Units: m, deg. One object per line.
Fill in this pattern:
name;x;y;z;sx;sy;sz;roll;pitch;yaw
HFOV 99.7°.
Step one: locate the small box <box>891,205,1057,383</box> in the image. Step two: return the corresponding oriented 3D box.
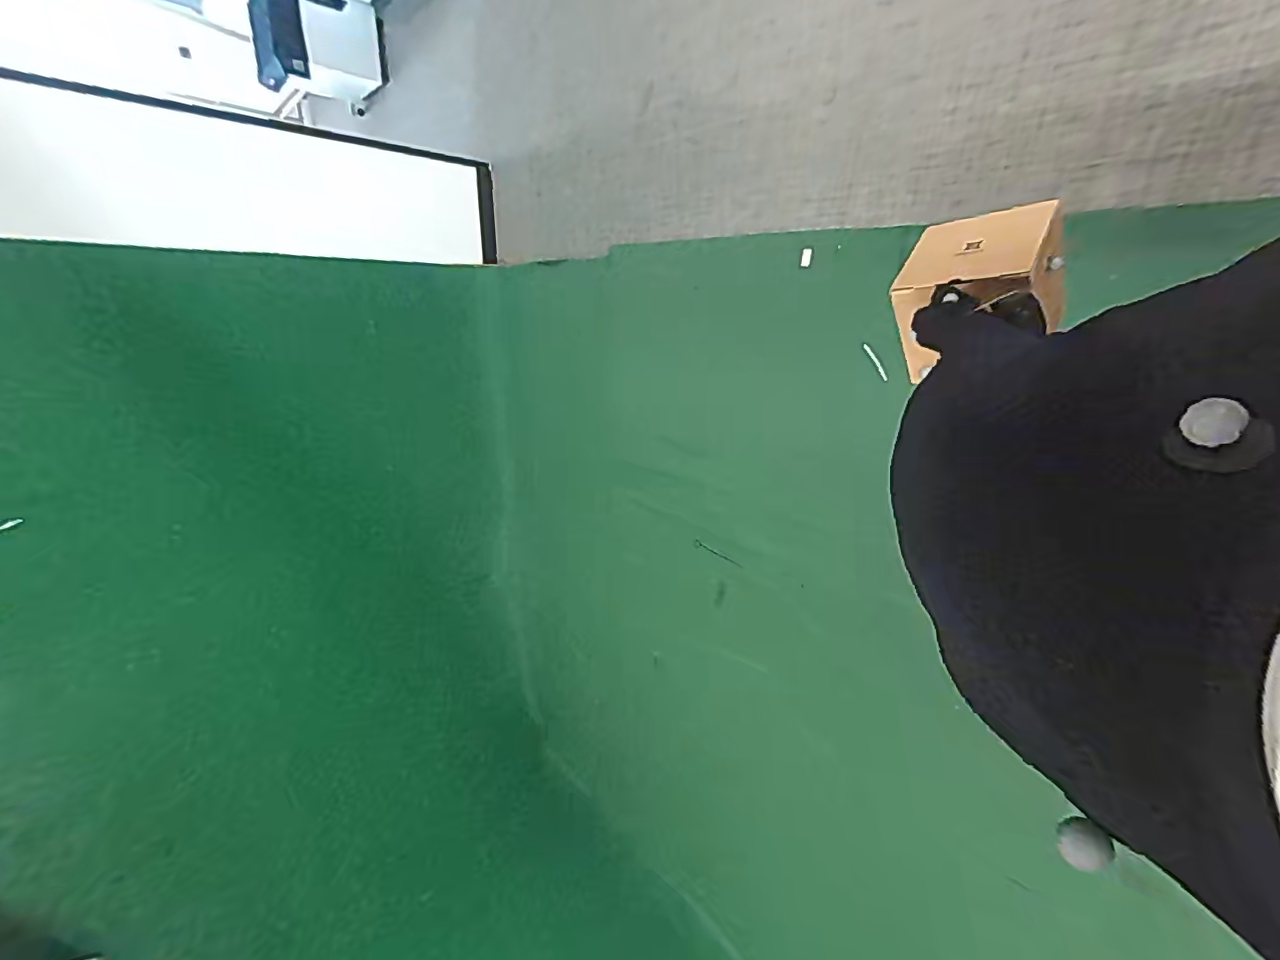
small box;0.494;-0.262;0.793;0.168;0.179;0.176;7;143;45
